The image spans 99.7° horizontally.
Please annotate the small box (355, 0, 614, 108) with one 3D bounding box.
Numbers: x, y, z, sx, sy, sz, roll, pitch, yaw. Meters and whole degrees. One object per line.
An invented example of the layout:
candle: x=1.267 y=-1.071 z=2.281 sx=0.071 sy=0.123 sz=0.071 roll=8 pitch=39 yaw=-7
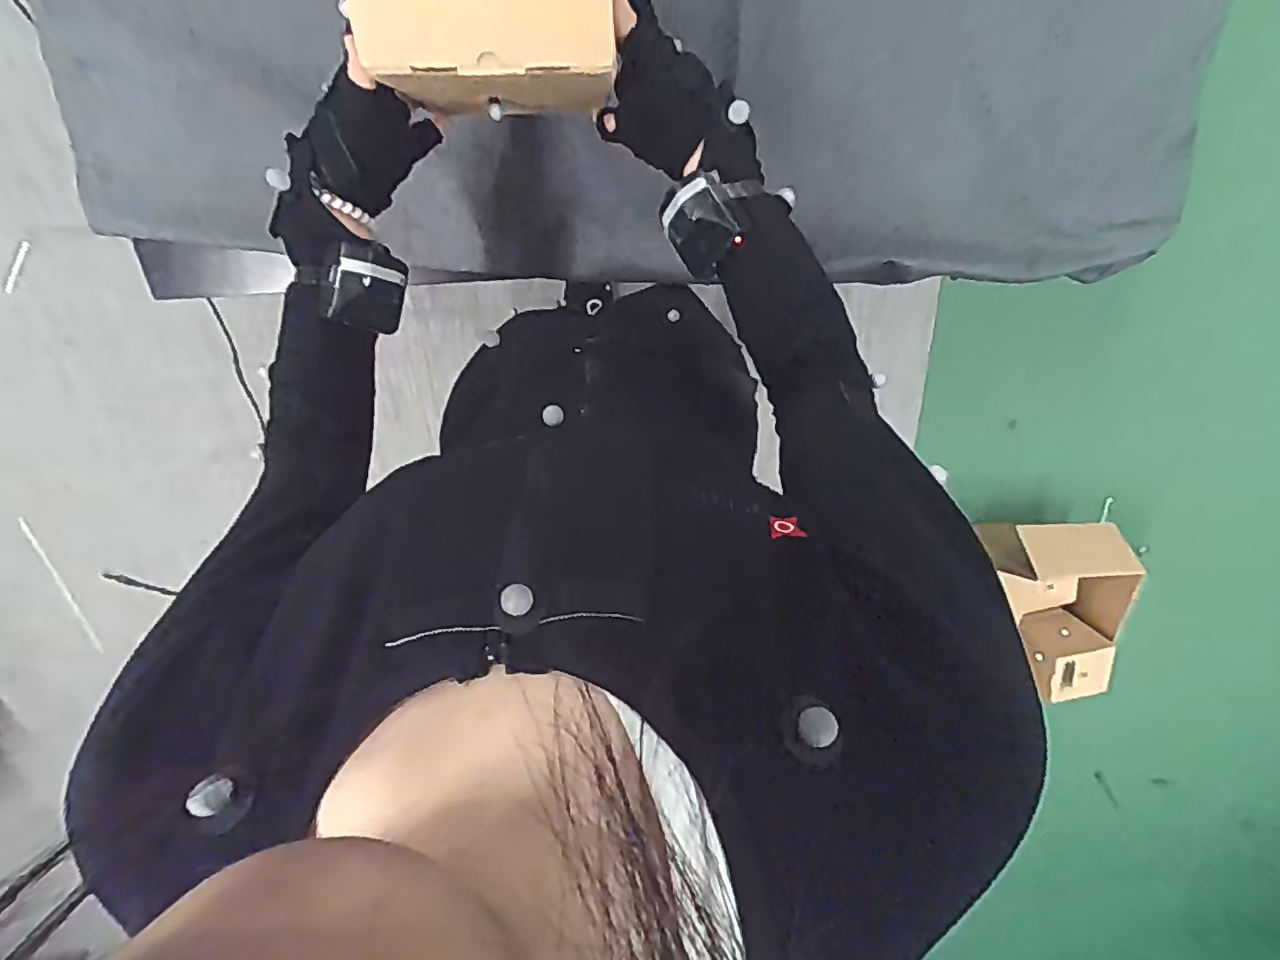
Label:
small box: x=-0.108 y=-0.390 z=0.395 sx=0.168 sy=0.176 sz=0.179 roll=-4 pitch=119 yaw=-5
